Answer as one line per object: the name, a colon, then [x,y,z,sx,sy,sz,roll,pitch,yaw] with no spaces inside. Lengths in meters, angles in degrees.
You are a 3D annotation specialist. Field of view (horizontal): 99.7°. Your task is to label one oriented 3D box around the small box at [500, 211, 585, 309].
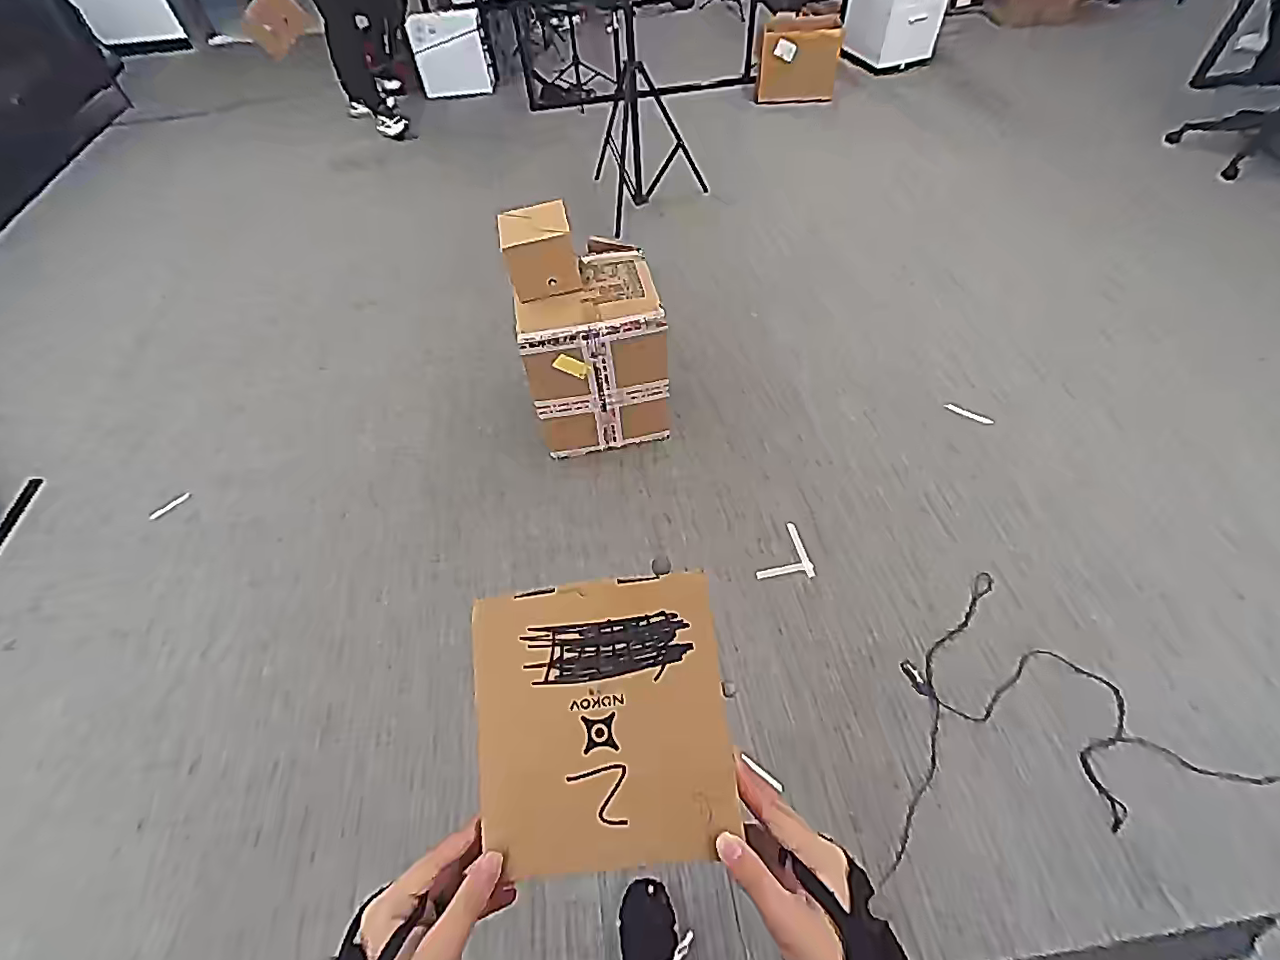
small box: [-0.260,-0.595,1.451,0.179,0.176,0.168,-13,55,-2]
